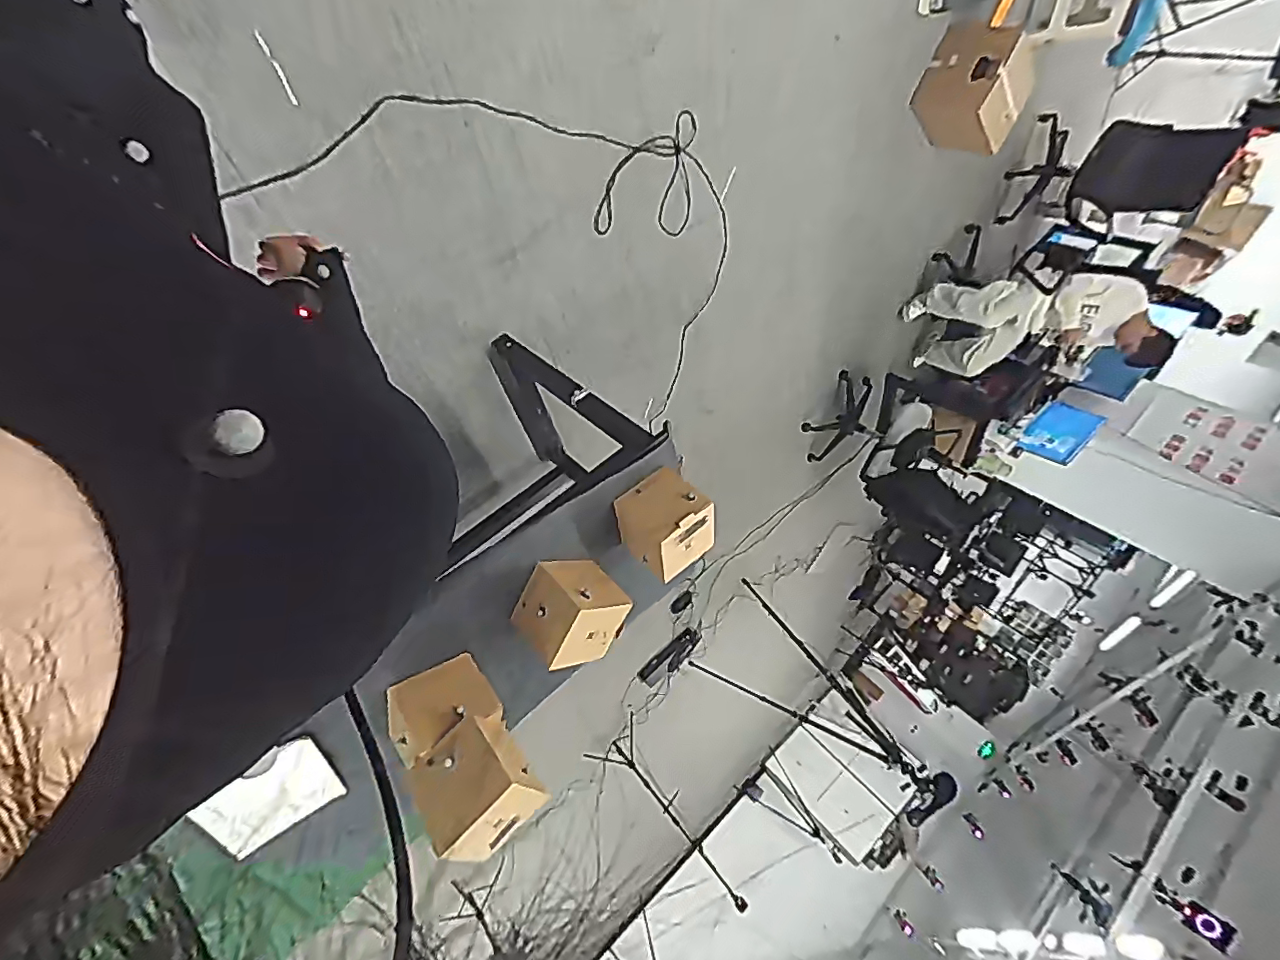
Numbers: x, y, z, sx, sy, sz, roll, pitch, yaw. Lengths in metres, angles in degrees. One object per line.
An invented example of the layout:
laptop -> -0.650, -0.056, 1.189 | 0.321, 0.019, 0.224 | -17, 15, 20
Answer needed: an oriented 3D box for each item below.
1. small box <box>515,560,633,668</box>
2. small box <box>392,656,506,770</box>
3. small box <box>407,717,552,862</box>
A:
small box -> -0.155, 0.296, 1.233 | 0.179, 0.176, 0.168 | 7, 115, -52
small box -> -0.406, 0.509, 1.133 | 0.179, 0.176, 0.168 | -17, 133, -41
small box -> -0.302, 0.584, 1.028 | 0.168, 0.176, 0.179 | -43, 144, -15
